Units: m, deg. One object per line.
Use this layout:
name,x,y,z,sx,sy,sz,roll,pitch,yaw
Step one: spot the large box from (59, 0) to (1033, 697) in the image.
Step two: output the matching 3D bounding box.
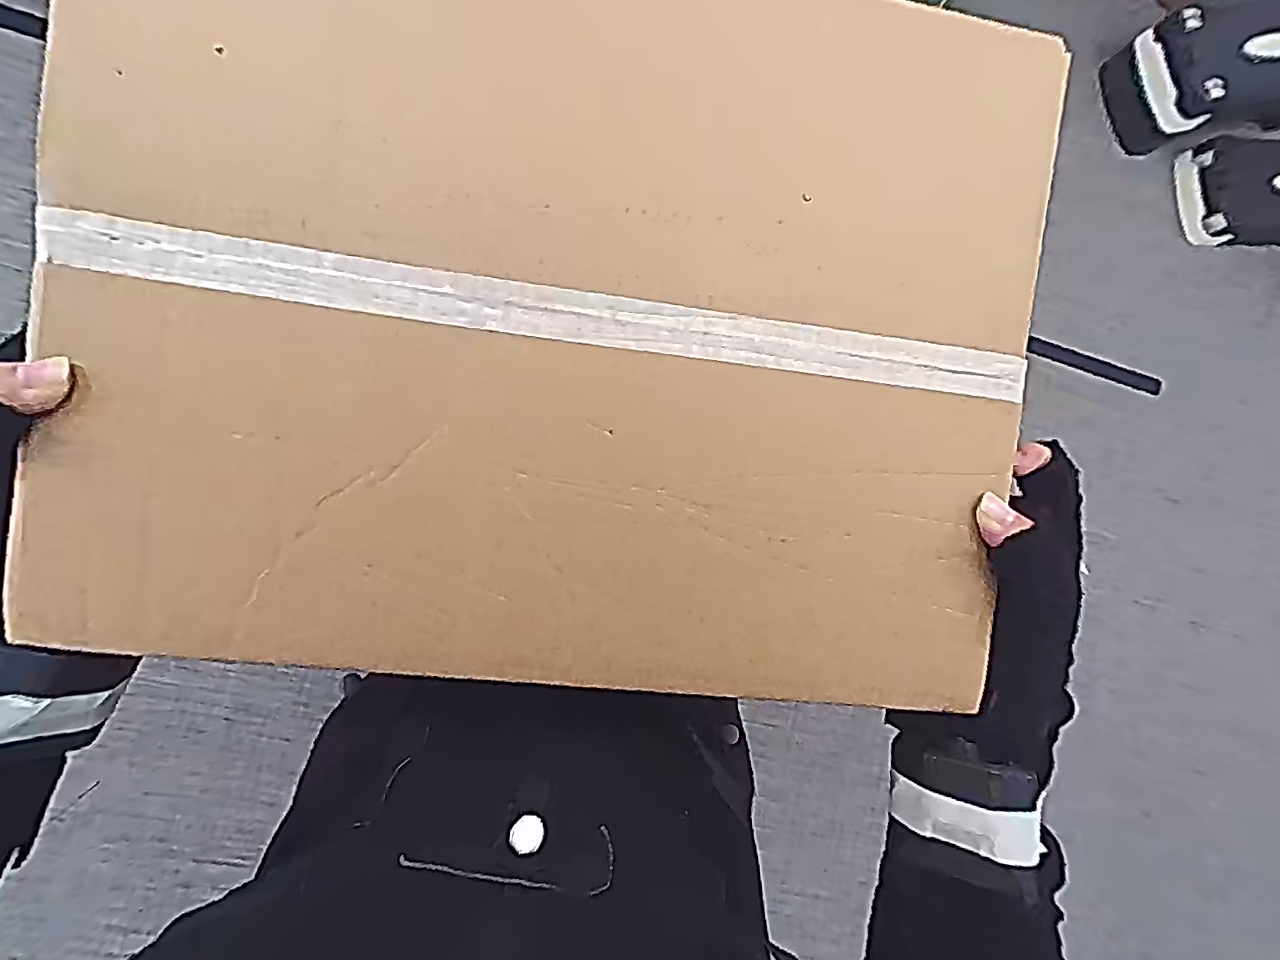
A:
large box,-0.041,-0.072,0.386,0.408,0.320,0.320,7,91,-7
